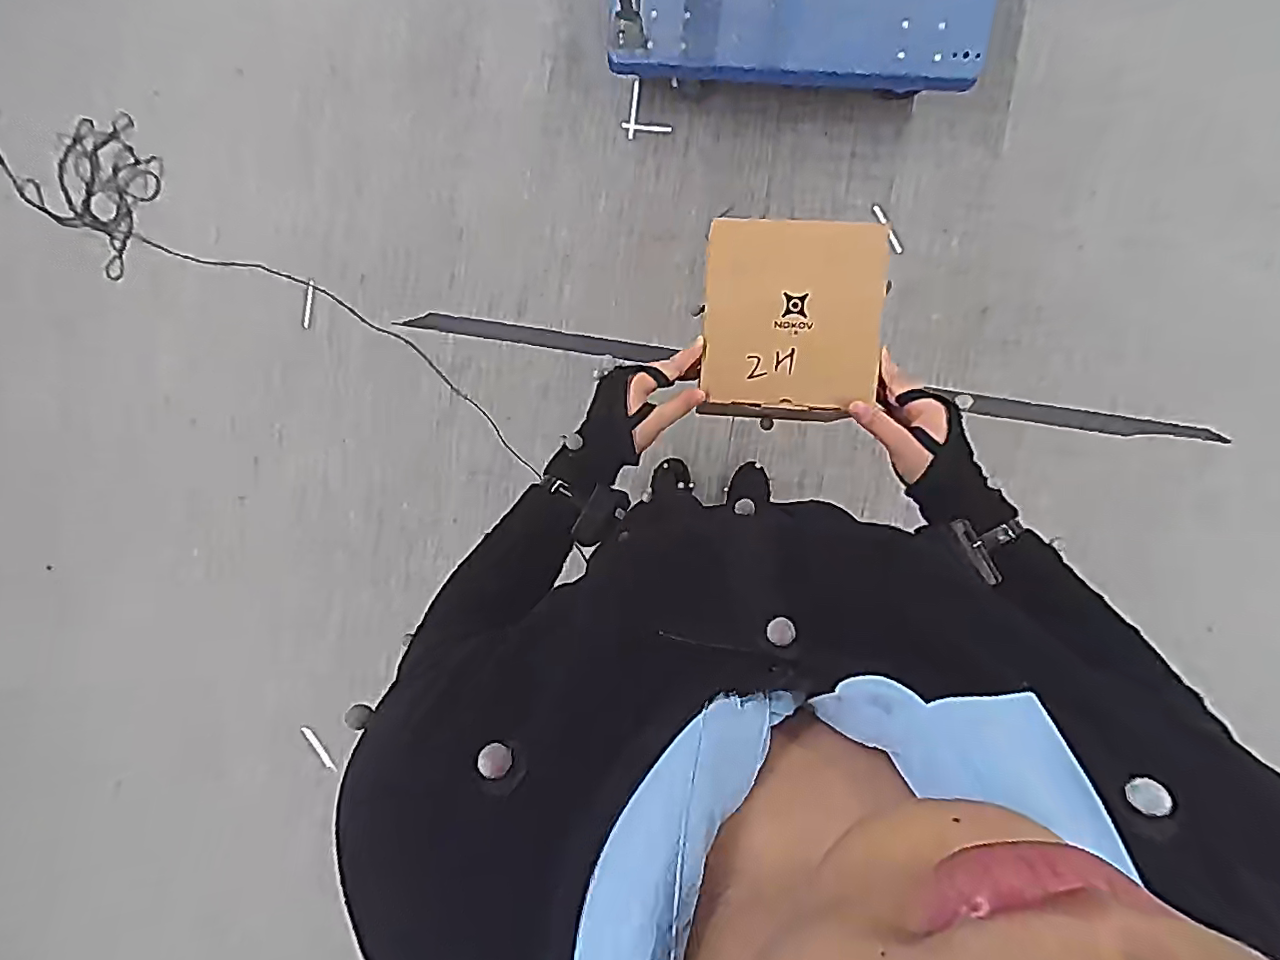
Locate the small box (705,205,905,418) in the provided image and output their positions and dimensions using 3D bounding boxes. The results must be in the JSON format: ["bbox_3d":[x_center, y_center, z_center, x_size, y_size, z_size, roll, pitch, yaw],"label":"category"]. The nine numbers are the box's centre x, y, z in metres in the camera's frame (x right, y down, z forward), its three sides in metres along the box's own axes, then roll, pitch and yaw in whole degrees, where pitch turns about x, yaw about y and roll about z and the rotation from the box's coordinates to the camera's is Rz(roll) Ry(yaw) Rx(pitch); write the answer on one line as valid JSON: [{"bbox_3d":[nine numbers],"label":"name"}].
[{"bbox_3d":[0.159,-0.165,0.577,0.168,0.176,0.179,5,93,5],"label":"small box"}]

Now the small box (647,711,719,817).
[{"bbox_3d":[0.116,0.747,1.439,0.168,0.176,0.179,7,92,5],"label":"small box"}]
